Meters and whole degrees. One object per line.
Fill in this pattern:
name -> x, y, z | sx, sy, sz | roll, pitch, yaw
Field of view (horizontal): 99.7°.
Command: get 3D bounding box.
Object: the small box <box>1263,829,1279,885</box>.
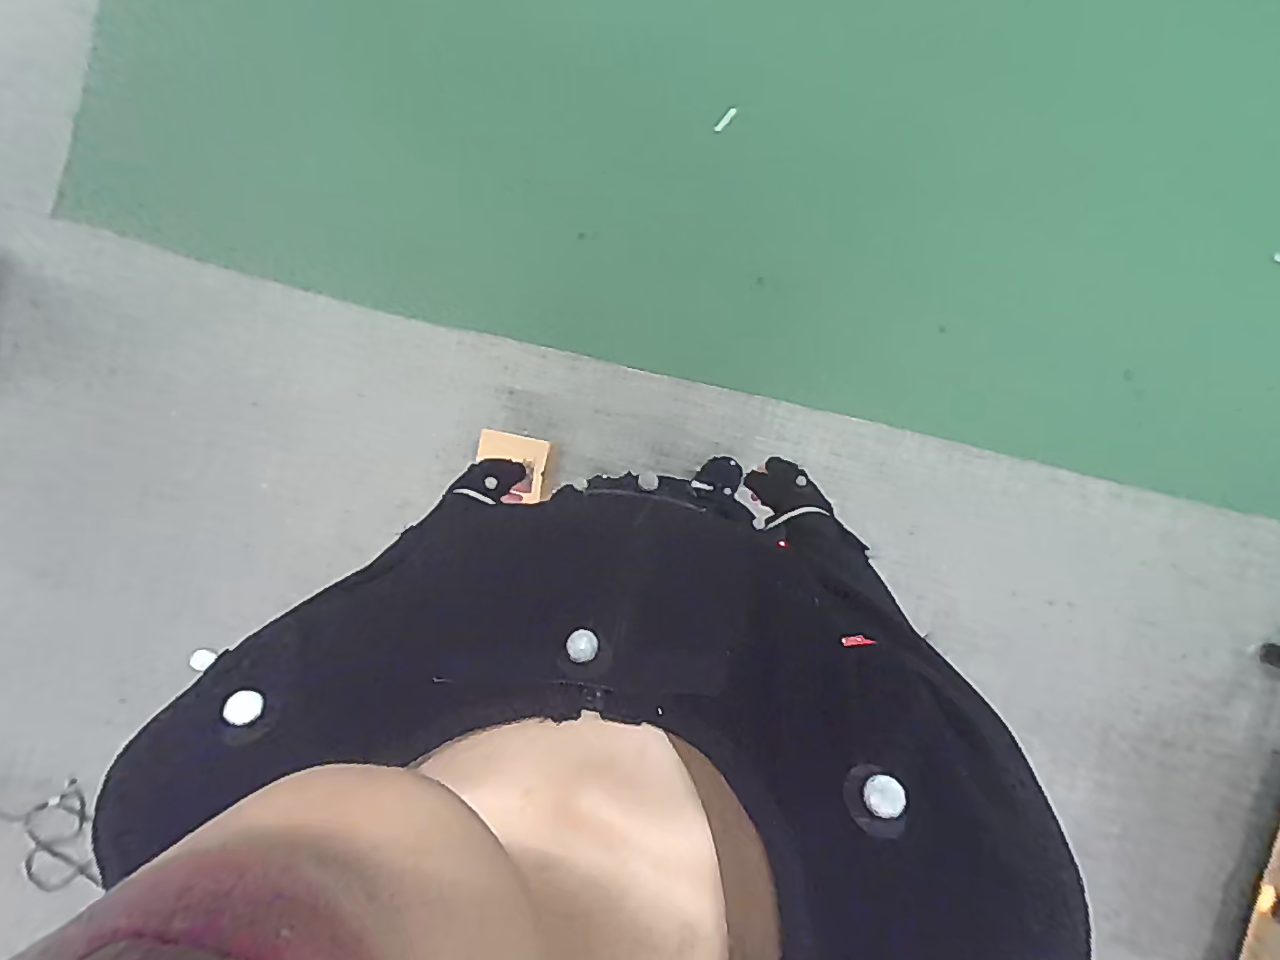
small box -> 1.666, 0.942, 1.272 | 0.179, 0.176, 0.168 | 15, 94, 4

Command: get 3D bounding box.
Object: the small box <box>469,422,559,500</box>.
small box -> -0.320, -0.053, 1.409 | 0.179, 0.176, 0.168 | 12, 93, 2
